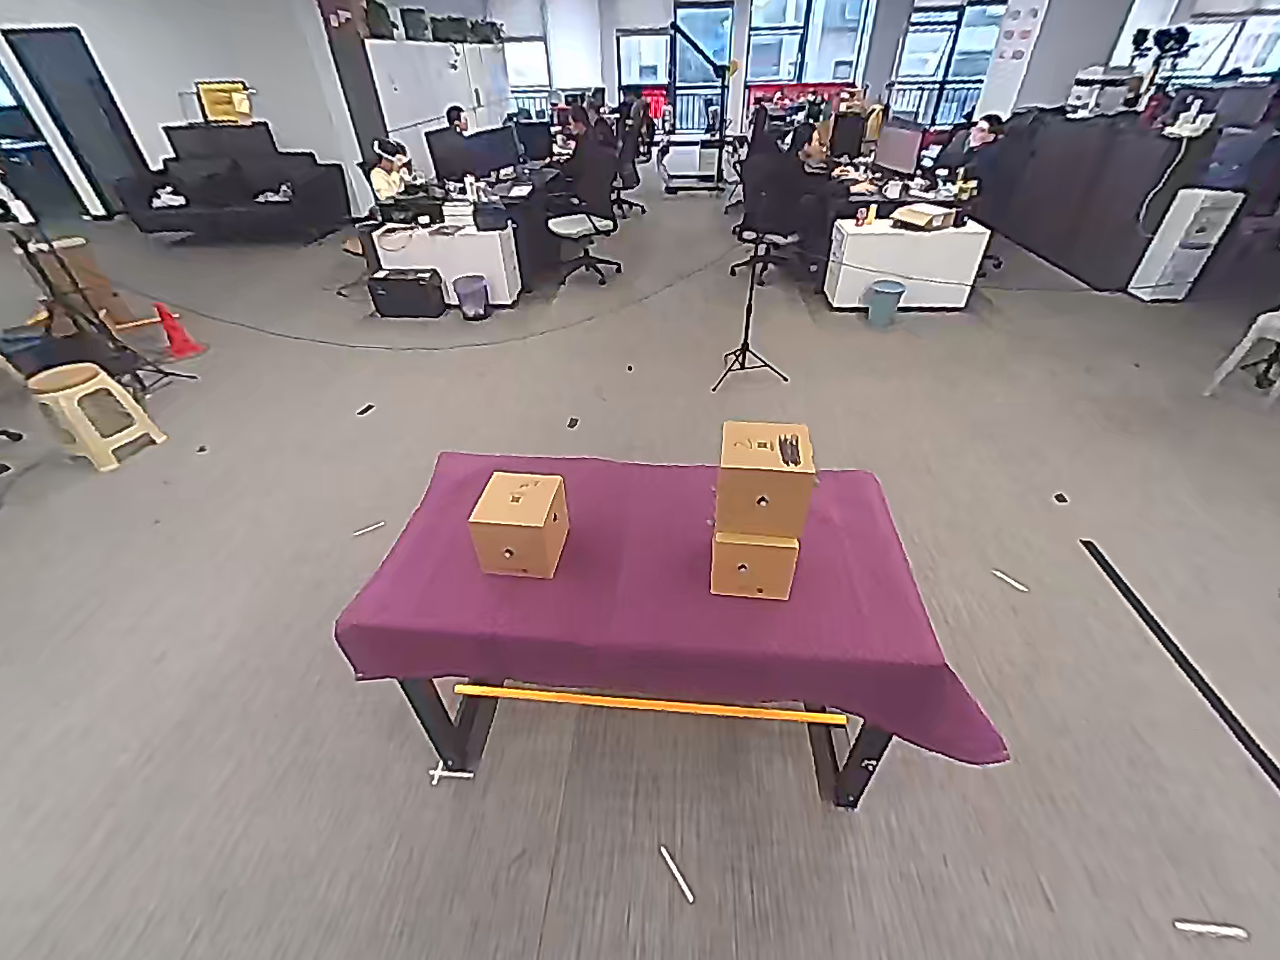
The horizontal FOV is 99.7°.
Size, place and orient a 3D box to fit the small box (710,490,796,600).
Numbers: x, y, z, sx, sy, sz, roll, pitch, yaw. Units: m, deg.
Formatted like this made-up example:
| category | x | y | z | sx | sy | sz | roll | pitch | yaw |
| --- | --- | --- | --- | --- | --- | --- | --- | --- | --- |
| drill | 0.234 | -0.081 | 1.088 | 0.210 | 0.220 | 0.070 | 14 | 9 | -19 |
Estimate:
| category | x | y | z | sx | sy | sz | roll | pitch | yaw |
| --- | --- | --- | --- | --- | --- | --- | --- | --- | --- |
| small box | 0.244 | 0.143 | 1.194 | 0.168 | 0.176 | 0.179 | 4 | 38 | 7 |

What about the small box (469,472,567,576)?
| category | x | y | z | sx | sy | sz | roll | pitch | yaw |
| --- | --- | --- | --- | --- | --- | --- | --- | --- | --- |
| small box | -0.271 | 0.103 | 1.254 | 0.168 | 0.176 | 0.179 | 5 | 39 | 6 |
